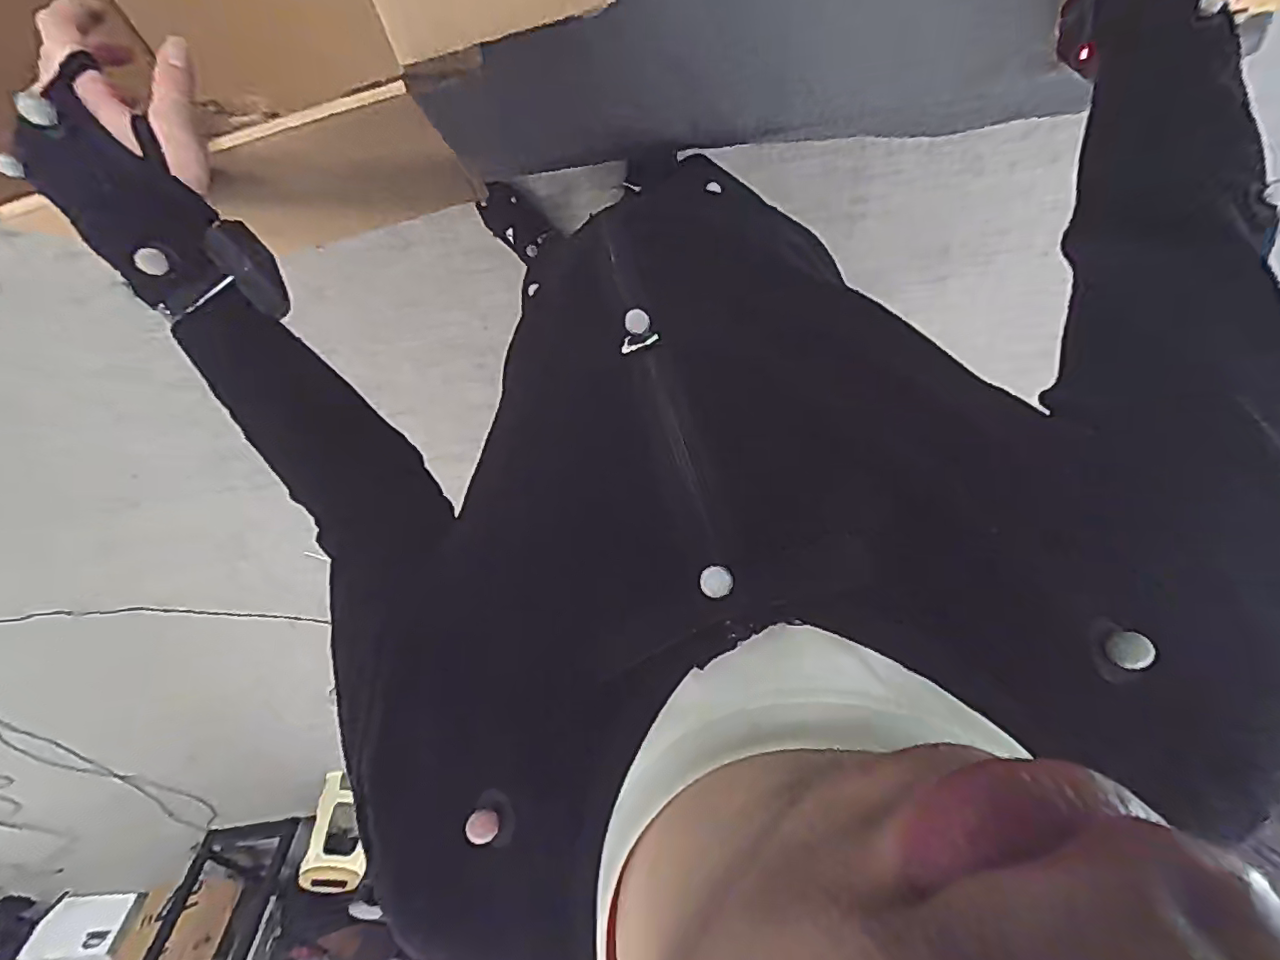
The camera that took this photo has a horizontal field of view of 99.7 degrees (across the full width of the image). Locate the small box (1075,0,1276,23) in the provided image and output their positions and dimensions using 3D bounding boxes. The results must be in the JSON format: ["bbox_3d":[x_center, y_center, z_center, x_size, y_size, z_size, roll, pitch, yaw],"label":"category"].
[{"bbox_3d":[0.515,-0.512,0.454,0.168,0.176,0.179,-9,127,6],"label":"small box"}]
